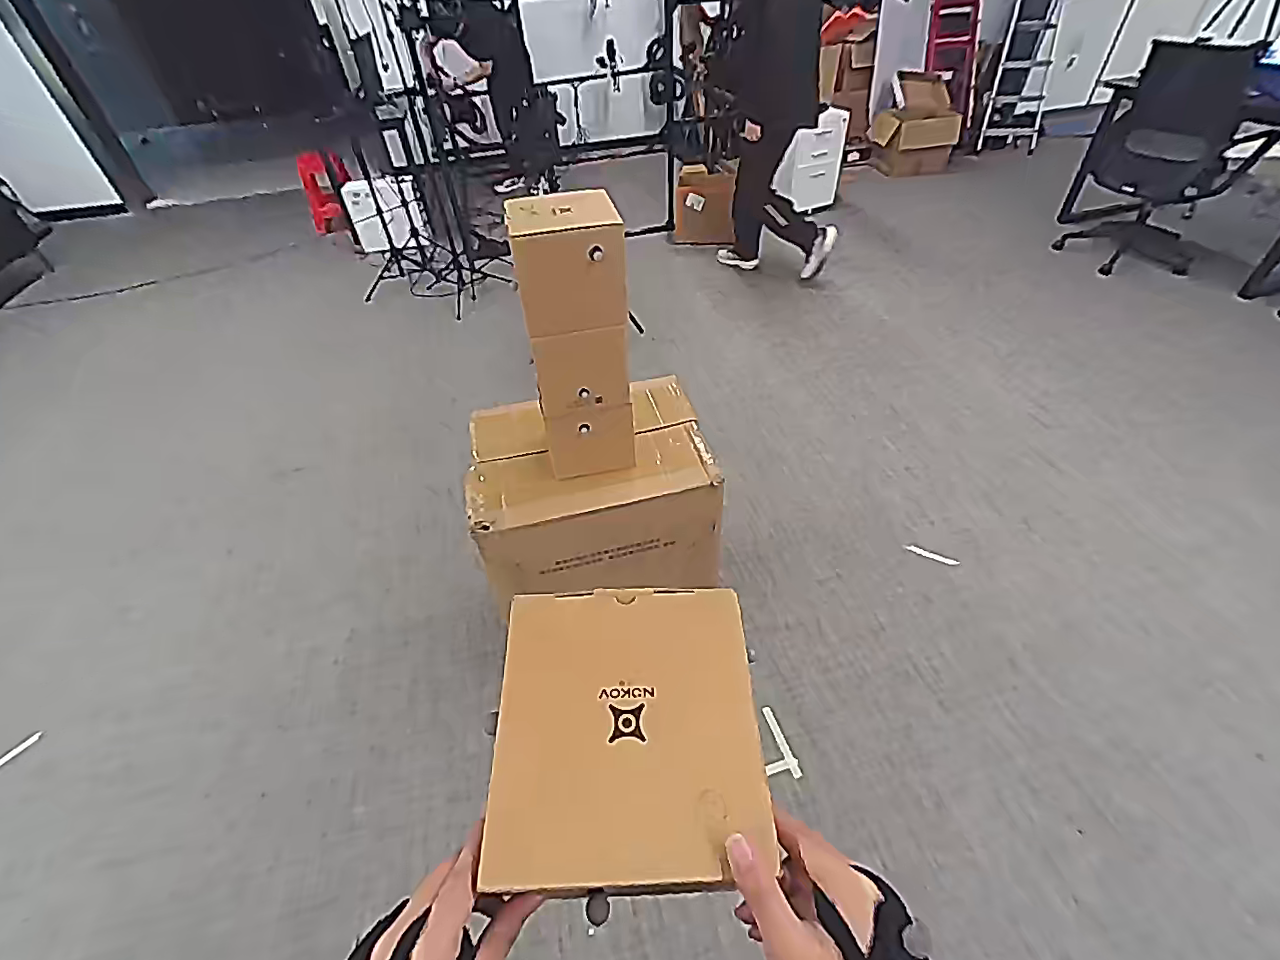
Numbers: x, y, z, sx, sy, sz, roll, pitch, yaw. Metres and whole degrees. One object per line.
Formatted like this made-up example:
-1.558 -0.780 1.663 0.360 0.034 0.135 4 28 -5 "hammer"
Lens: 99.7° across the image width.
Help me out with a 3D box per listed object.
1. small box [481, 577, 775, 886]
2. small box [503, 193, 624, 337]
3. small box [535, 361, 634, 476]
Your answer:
-0.007 0.194 0.407 0.168 0.176 0.179 -3 49 -1 "small box"
-0.126 -0.365 0.920 0.179 0.176 0.168 -11 45 -7 "small box"
-0.115 -0.127 1.147 0.179 0.176 0.168 -10 44 -7 "small box"
